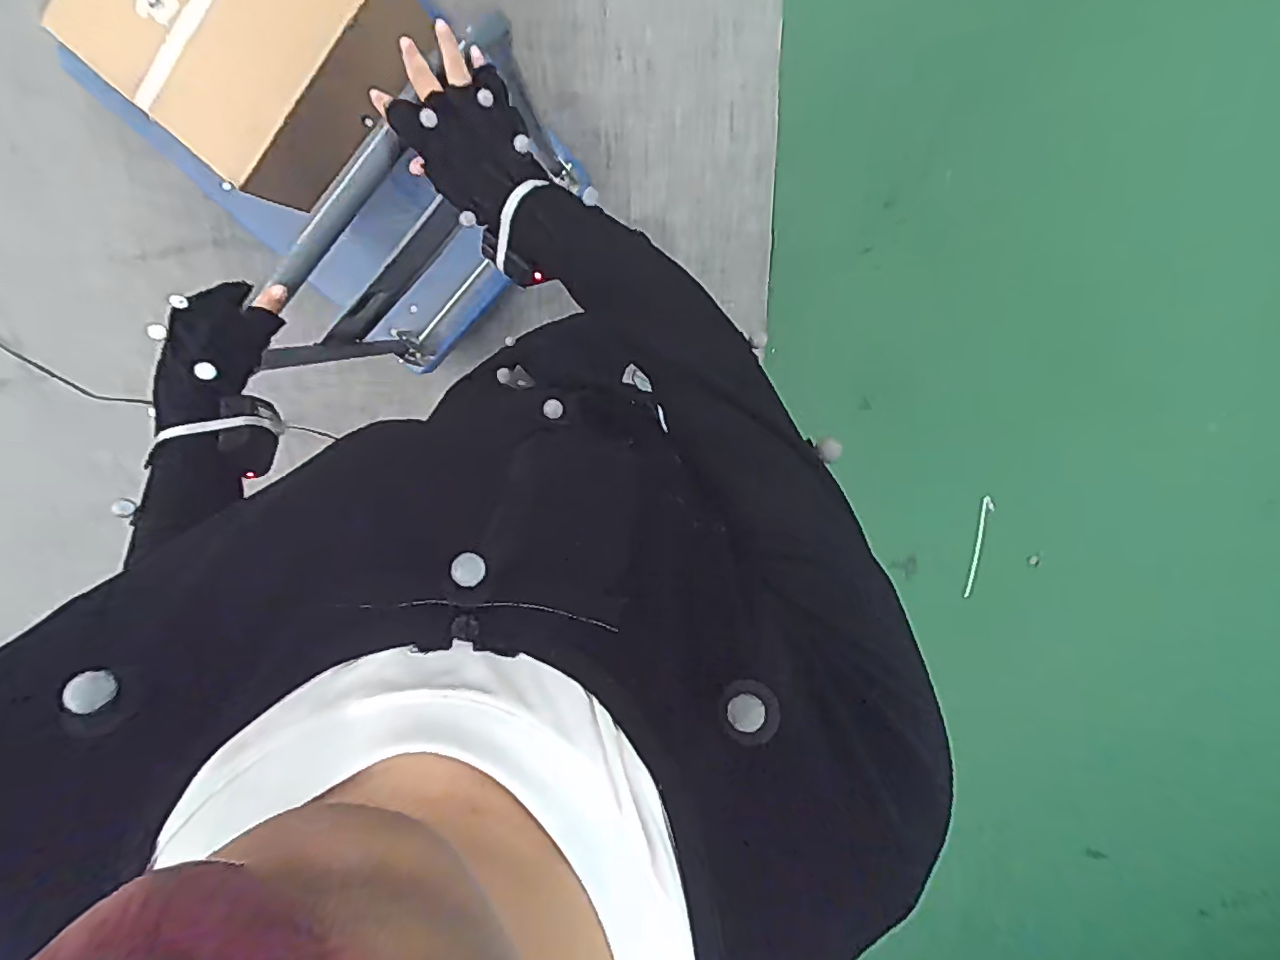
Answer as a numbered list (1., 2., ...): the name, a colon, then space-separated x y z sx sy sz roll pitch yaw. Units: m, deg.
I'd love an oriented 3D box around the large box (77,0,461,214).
1. large box: -0.581 -0.742 0.918 0.320 0.320 0.408 42 103 -12
